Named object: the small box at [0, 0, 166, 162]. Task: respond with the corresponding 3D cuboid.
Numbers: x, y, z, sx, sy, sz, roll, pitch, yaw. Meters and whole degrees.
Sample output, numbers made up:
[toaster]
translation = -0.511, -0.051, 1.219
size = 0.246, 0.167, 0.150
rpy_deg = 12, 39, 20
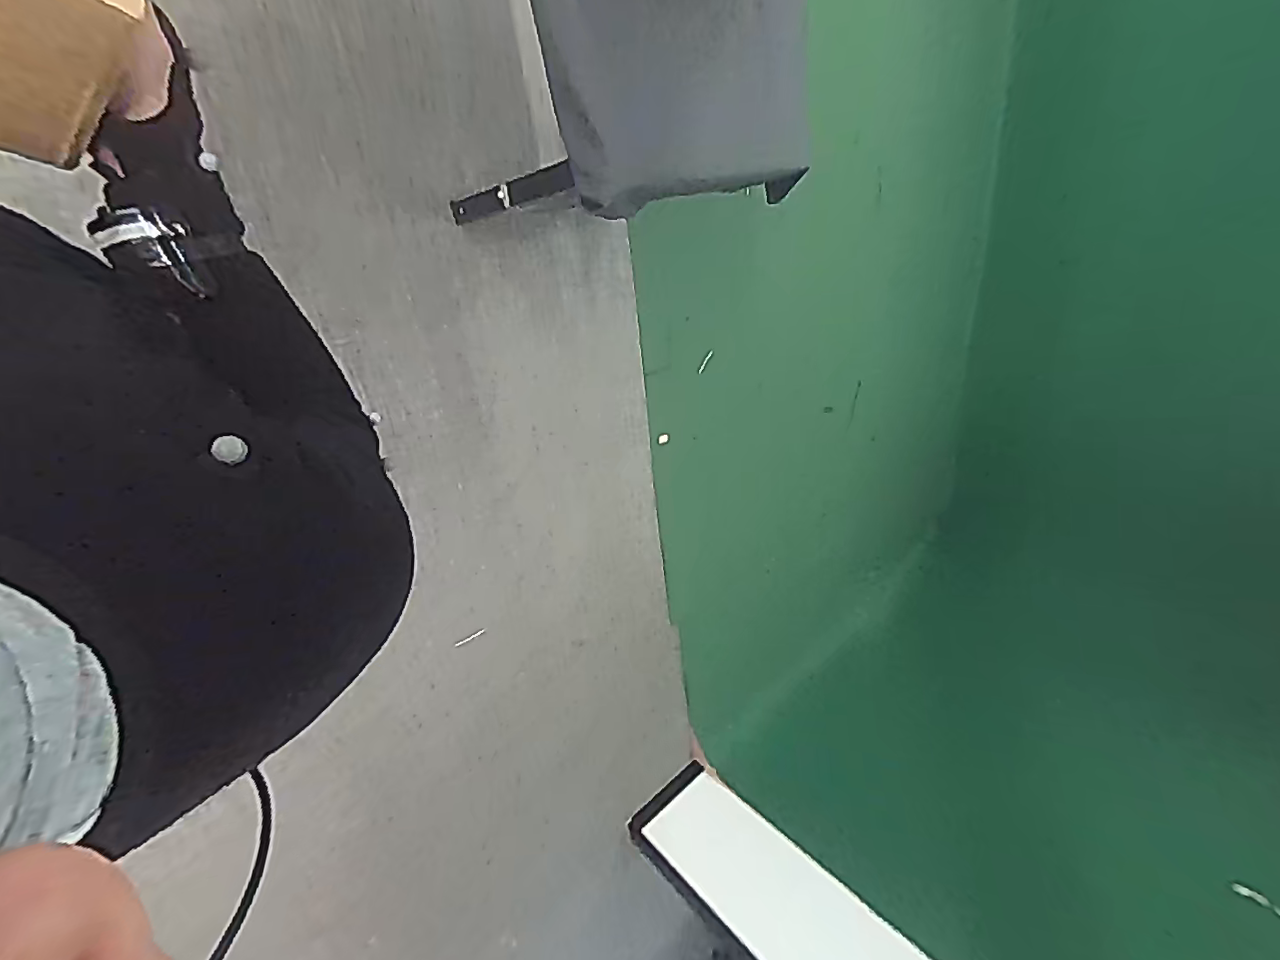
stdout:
[small box]
translation = -0.349, -0.281, 0.237
size = 0.179, 0.176, 0.168
rpy_deg = -3, 85, -55
